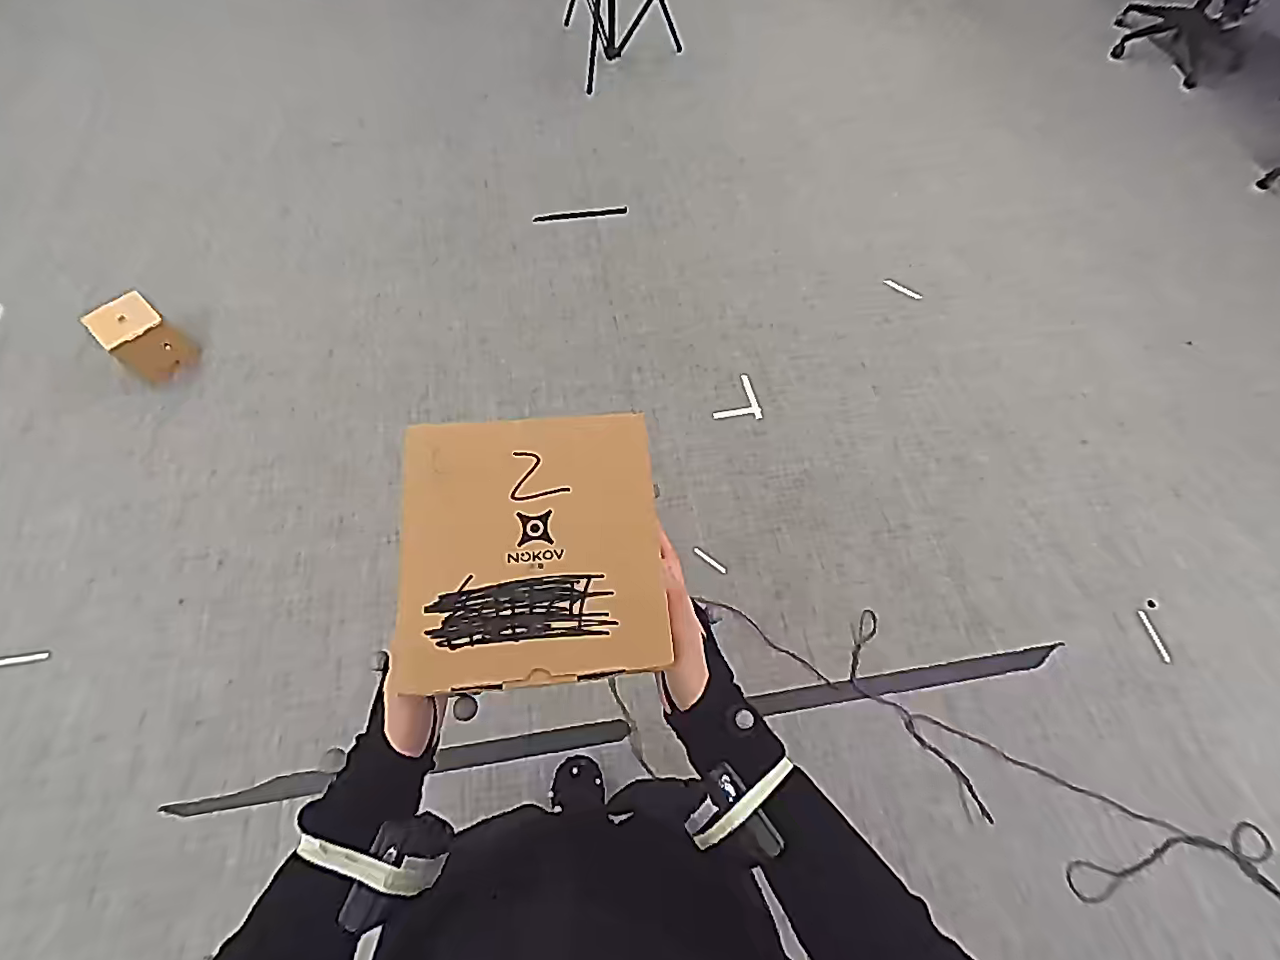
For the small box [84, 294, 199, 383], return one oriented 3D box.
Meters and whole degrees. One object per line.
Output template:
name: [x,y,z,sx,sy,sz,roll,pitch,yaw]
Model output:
small box: [-1.526,-0.427,1.668,0.179,0.176,0.168,39,67,17]
